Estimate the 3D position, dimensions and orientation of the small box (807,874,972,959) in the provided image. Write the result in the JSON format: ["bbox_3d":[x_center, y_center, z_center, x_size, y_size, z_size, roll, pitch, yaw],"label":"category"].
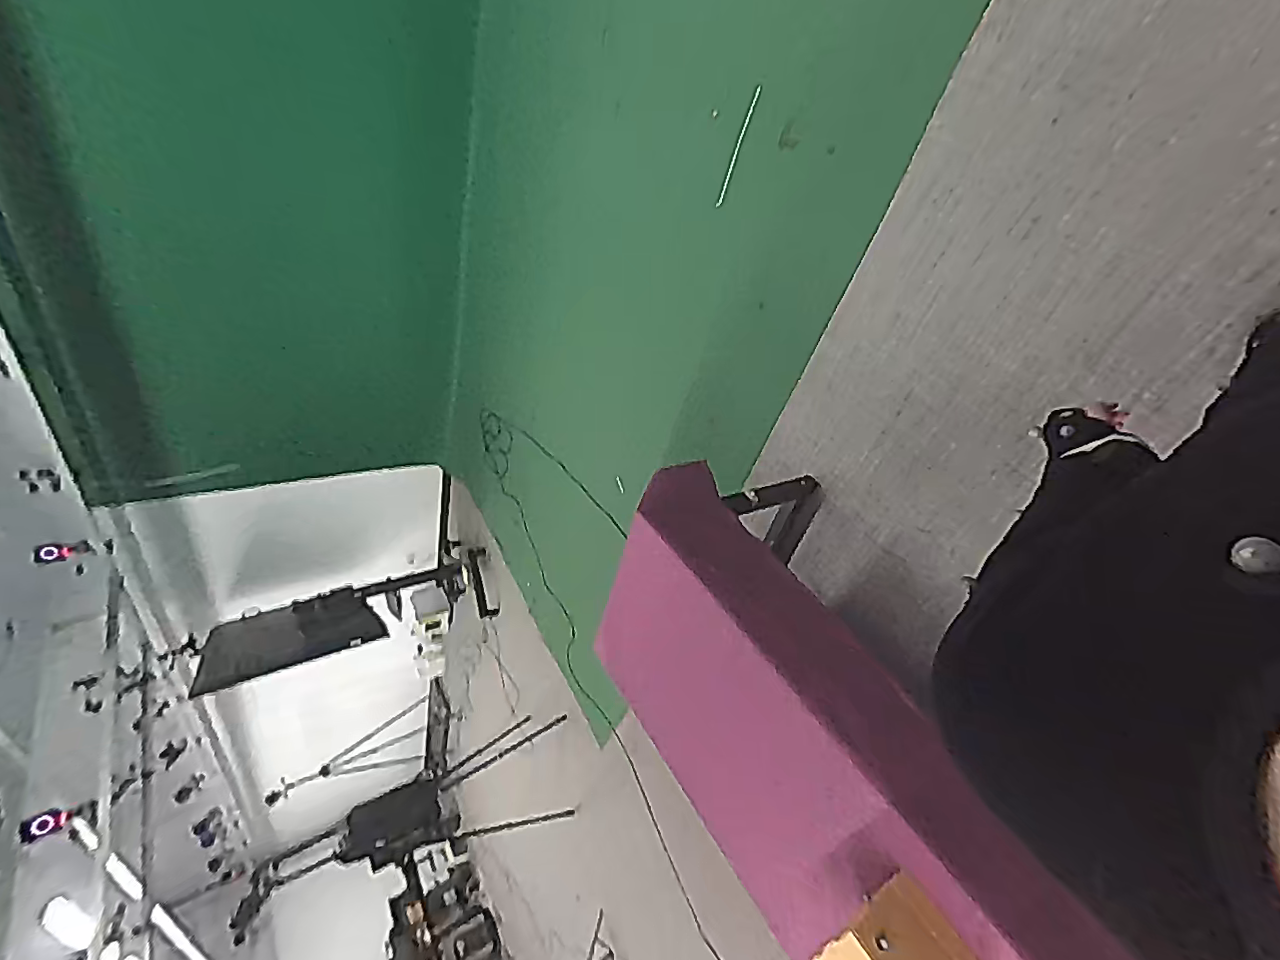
[{"bbox_3d":[0.419,0.805,0.887,0.179,0.176,0.168,48,135,39],"label":"small box"}]
